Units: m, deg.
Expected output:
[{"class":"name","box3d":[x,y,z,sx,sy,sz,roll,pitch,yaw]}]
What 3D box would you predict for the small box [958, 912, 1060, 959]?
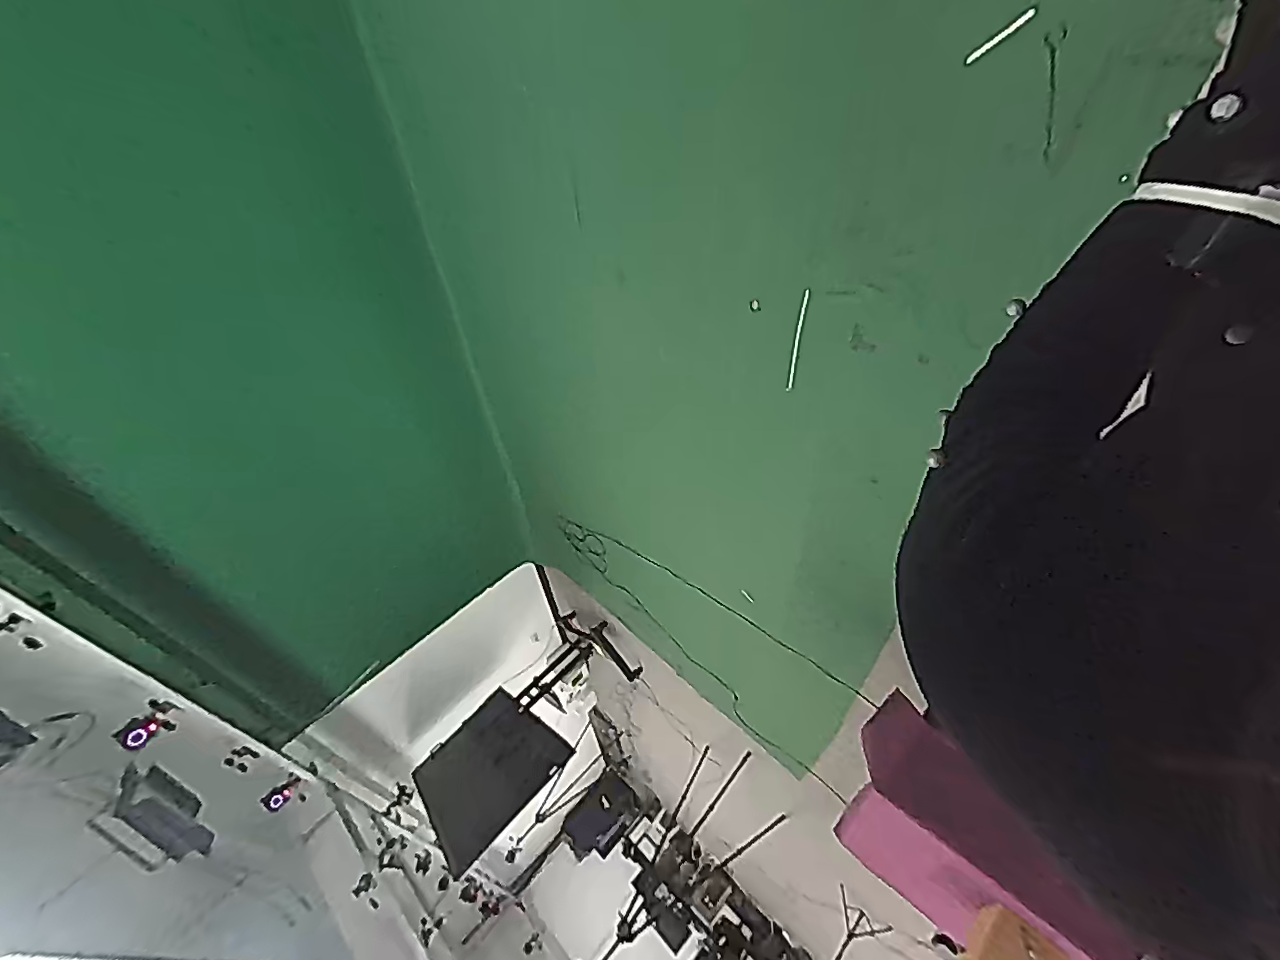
[{"class":"small box","box3d":[0.935,1.244,1.367,0.168,0.176,0.179,33,146,31]}]
